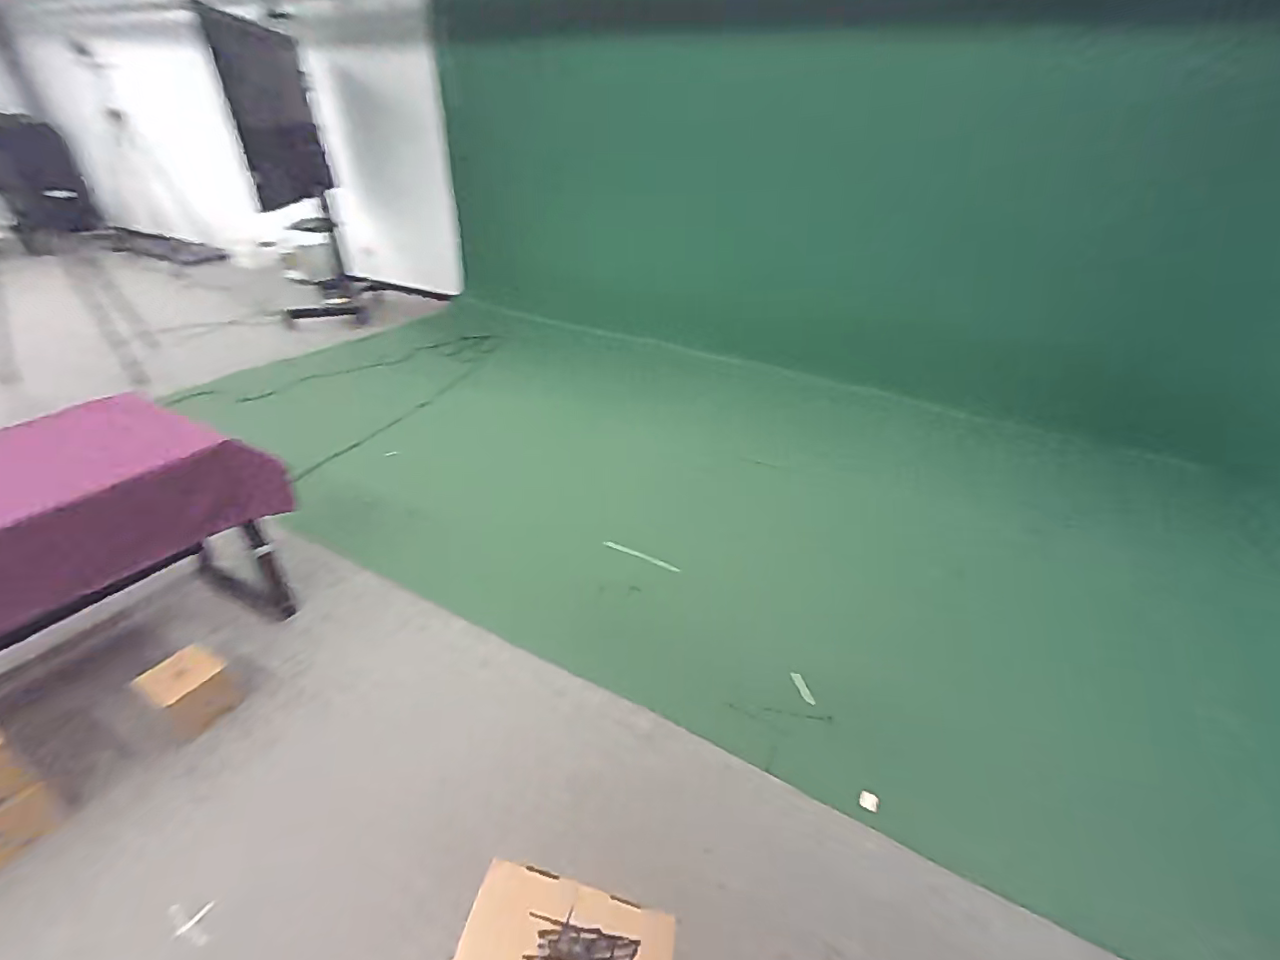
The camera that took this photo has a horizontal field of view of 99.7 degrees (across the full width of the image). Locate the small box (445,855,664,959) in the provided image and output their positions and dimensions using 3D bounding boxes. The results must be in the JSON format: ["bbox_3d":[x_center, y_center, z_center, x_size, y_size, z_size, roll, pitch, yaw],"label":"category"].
[{"bbox_3d":[-0.086,0.458,0.457,0.168,0.176,0.179,13,46,6],"label":"small box"}]
